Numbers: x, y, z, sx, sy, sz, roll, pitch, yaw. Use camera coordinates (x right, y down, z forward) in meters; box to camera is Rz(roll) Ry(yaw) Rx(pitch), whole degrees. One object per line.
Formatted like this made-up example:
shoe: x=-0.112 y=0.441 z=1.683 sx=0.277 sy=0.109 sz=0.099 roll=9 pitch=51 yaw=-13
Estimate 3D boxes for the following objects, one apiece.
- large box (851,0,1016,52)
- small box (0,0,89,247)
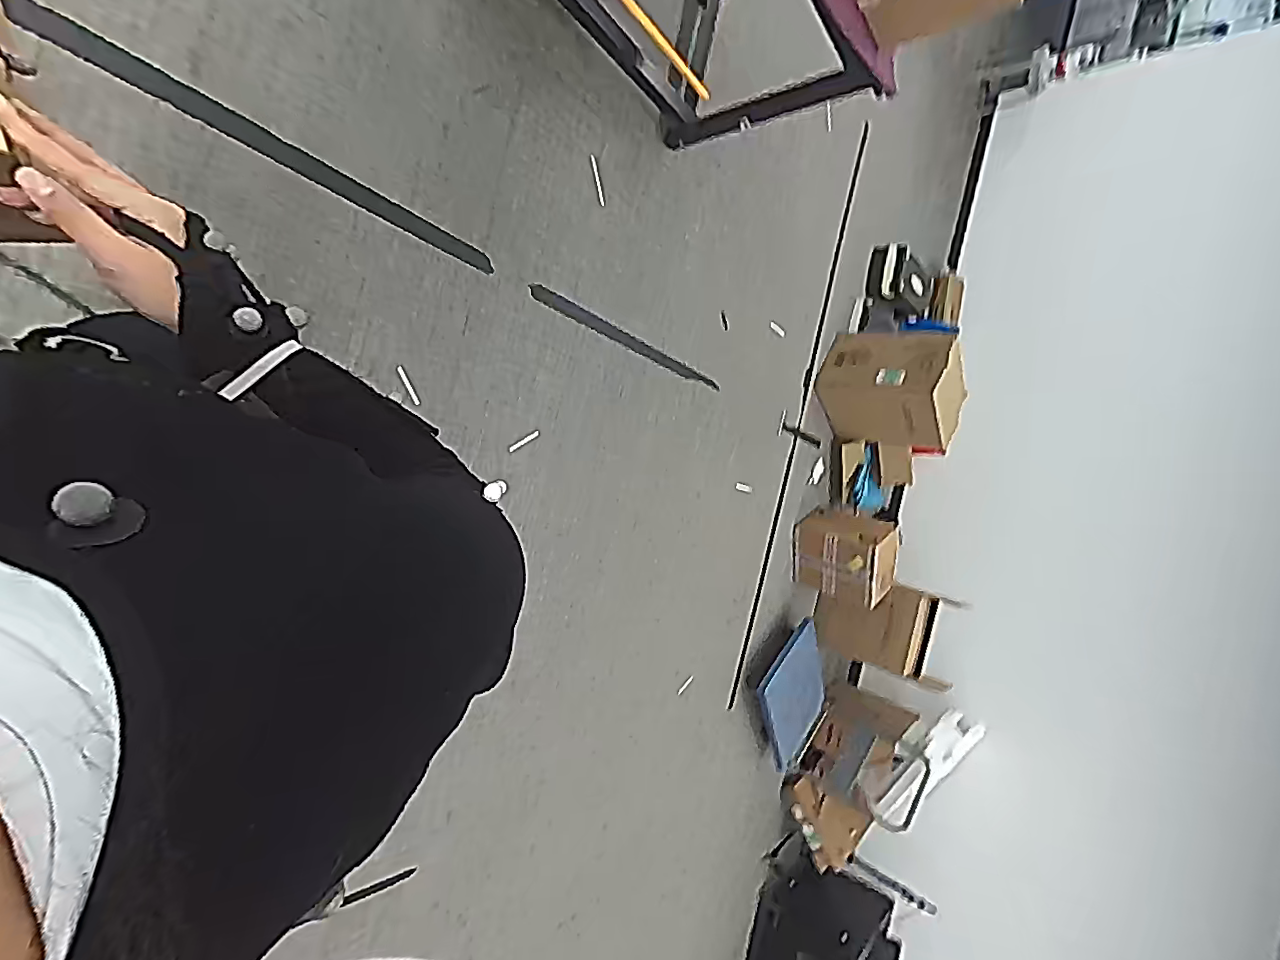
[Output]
large box: x=0.656 y=-1.281 z=1.175 sx=0.320 sy=0.320 sz=0.408 roll=12 pitch=90 yaw=-49
small box: x=-0.450 y=-0.241 z=0.290 sx=0.168 sy=0.176 sz=0.179 roll=-18 pitch=104 yaw=-34
